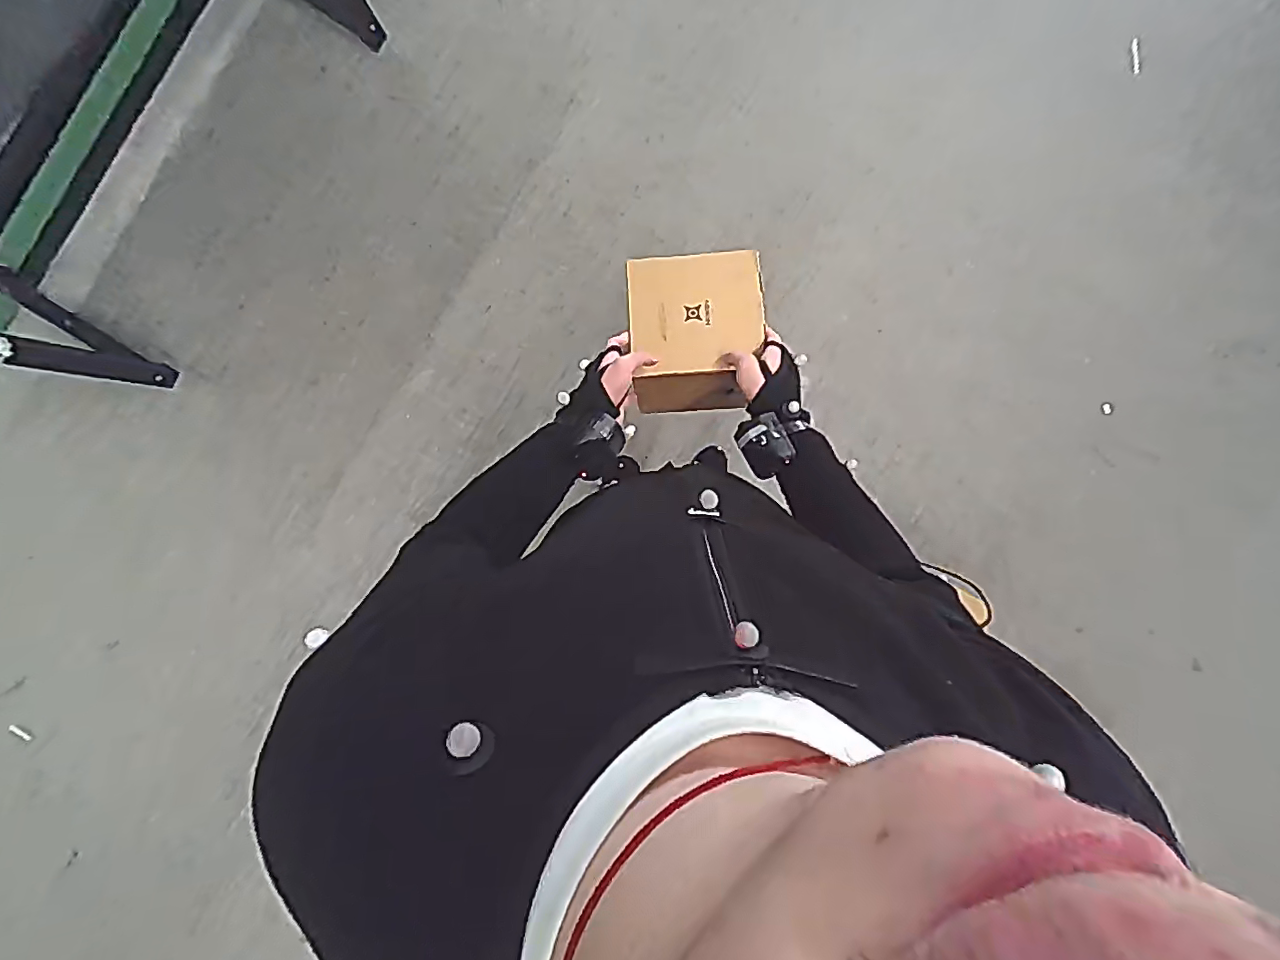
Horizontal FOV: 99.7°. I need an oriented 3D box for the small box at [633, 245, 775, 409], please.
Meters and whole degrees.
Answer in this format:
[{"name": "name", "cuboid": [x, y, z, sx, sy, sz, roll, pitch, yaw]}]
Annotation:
[{"name": "small box", "cuboid": [0.082, -0.205, 0.761, 0.179, 0.176, 0.168, -2, 78, 3]}]
